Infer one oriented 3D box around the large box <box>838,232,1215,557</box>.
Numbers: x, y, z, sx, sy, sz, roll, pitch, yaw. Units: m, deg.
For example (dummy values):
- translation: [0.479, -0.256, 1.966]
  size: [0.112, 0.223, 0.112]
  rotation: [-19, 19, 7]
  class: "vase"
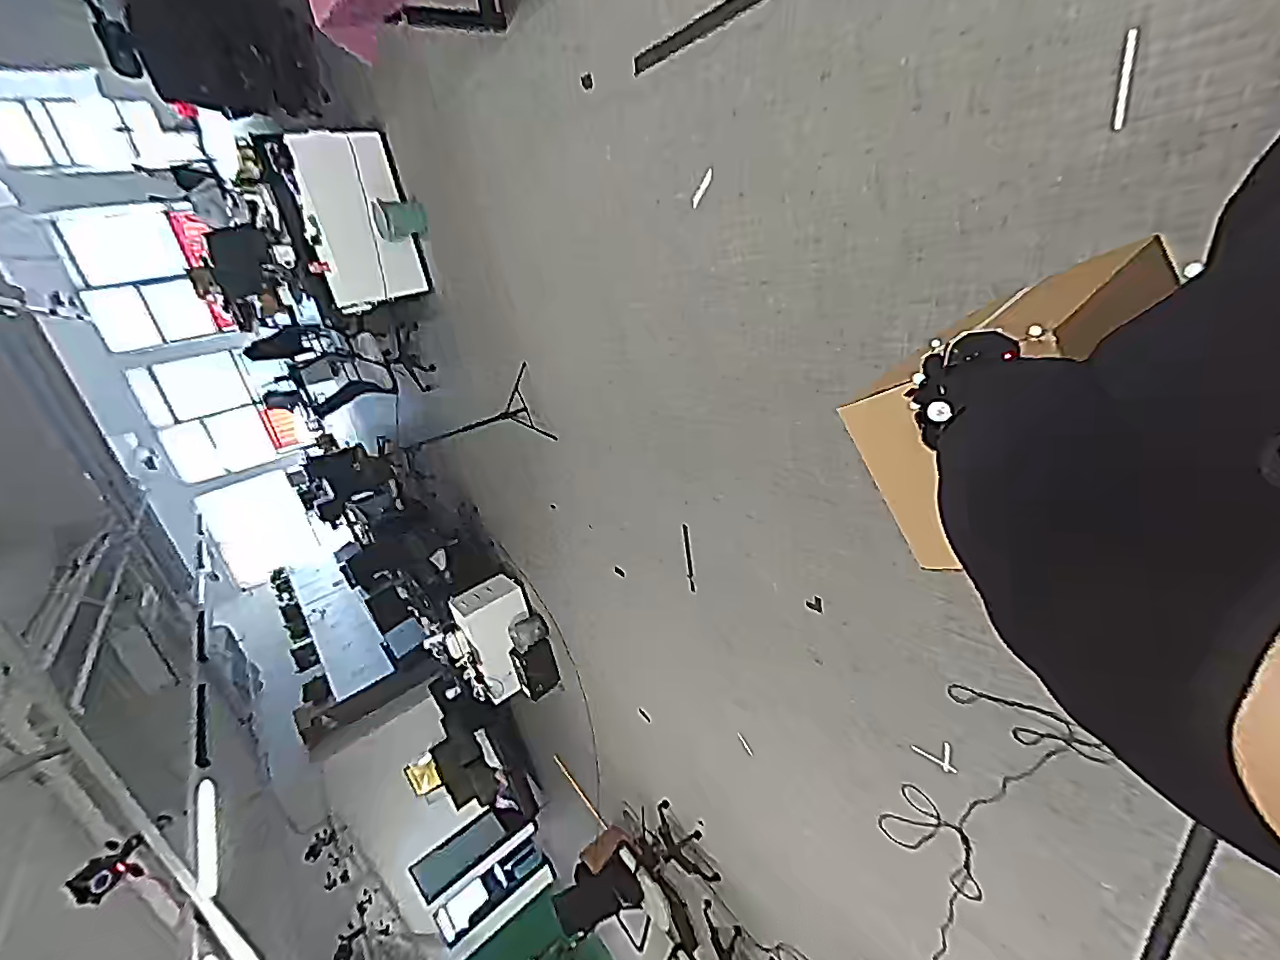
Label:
- translation: [0.604, -0.120, 0.851]
  size: [0.320, 0.408, 0.320]
  rotation: [59, 152, -6]
  class: "large box"
